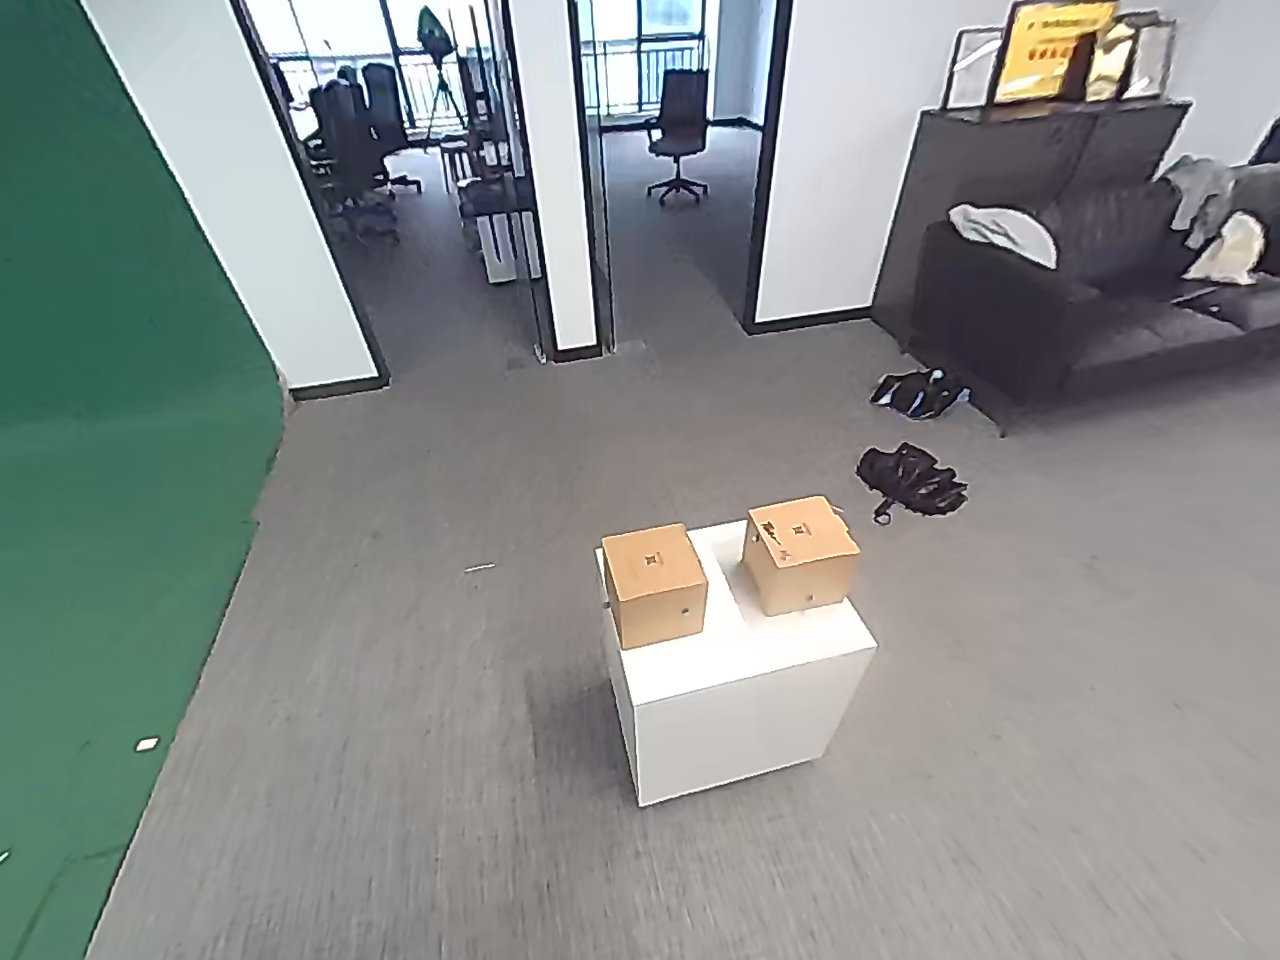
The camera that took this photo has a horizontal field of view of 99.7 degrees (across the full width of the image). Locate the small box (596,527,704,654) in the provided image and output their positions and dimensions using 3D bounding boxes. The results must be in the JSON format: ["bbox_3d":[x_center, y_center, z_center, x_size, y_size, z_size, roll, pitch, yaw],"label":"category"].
[{"bbox_3d":[0.013,0.222,1.089,0.179,0.176,0.168,-10,41,-14],"label":"small box"}]

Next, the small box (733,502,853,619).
[{"bbox_3d":[0.315,0.172,1.153,0.179,0.176,0.168,-8,42,-11],"label":"small box"}]
